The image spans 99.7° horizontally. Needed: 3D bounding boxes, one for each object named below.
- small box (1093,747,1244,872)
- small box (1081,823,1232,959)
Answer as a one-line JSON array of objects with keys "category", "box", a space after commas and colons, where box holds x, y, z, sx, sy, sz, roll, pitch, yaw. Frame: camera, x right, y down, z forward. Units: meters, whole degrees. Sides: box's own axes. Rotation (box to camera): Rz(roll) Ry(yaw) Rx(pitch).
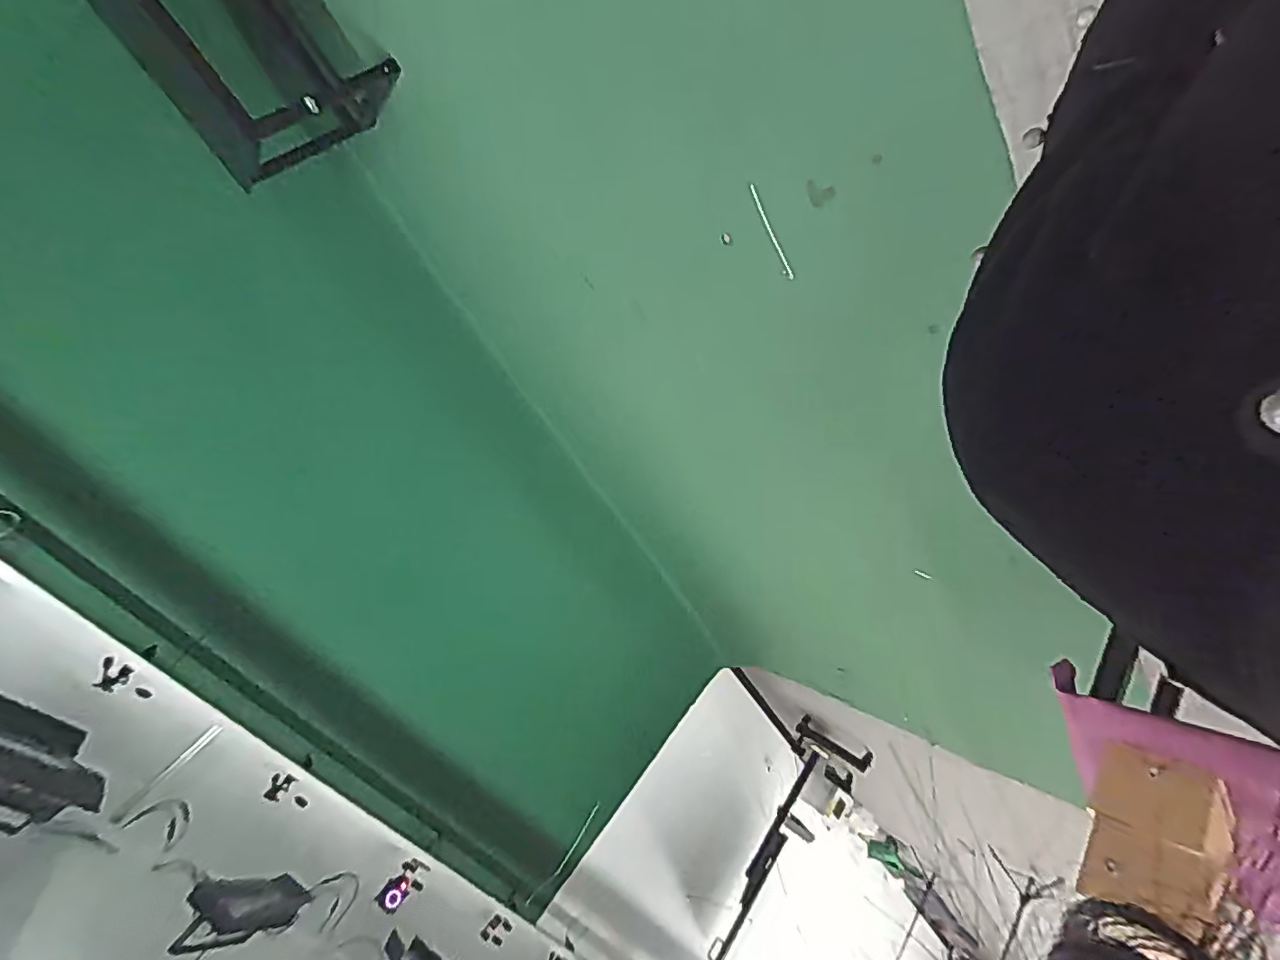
[{"category": "small box", "box": [1.071, 0.679, 1.096, 0.168, 0.176, 0.179, 53, 154, -21]}, {"category": "small box", "box": [0.978, 0.793, 1.024, 0.179, 0.176, 0.168, 6, 136, 53]}]
